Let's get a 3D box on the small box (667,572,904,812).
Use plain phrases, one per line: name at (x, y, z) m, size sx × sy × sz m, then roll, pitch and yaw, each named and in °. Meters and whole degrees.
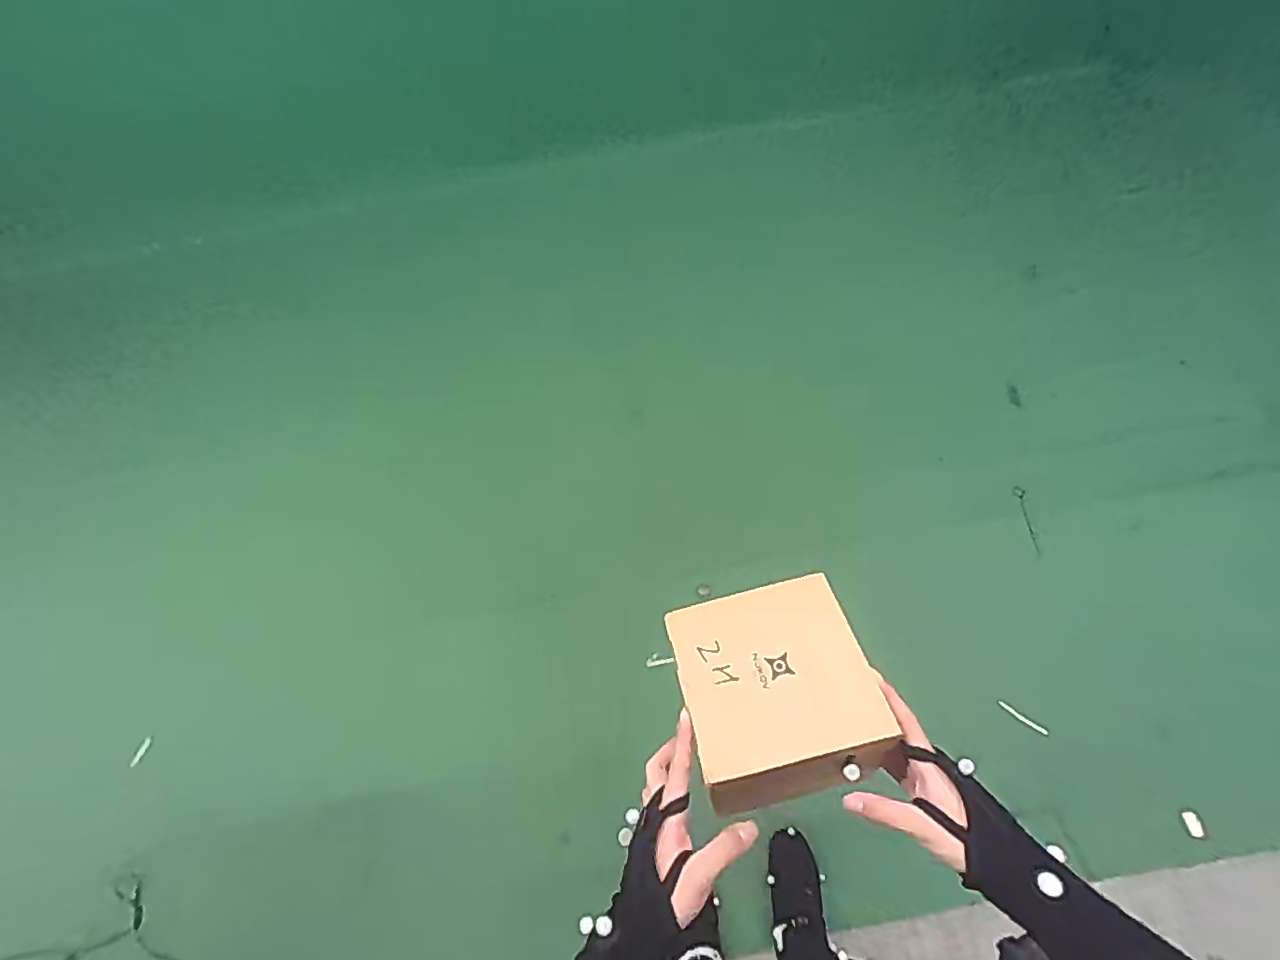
small box at (0.137, 0.224, 0.563) m, size 0.179 × 0.176 × 0.168 m, roll -15°, pitch 49°, yaw 1°
